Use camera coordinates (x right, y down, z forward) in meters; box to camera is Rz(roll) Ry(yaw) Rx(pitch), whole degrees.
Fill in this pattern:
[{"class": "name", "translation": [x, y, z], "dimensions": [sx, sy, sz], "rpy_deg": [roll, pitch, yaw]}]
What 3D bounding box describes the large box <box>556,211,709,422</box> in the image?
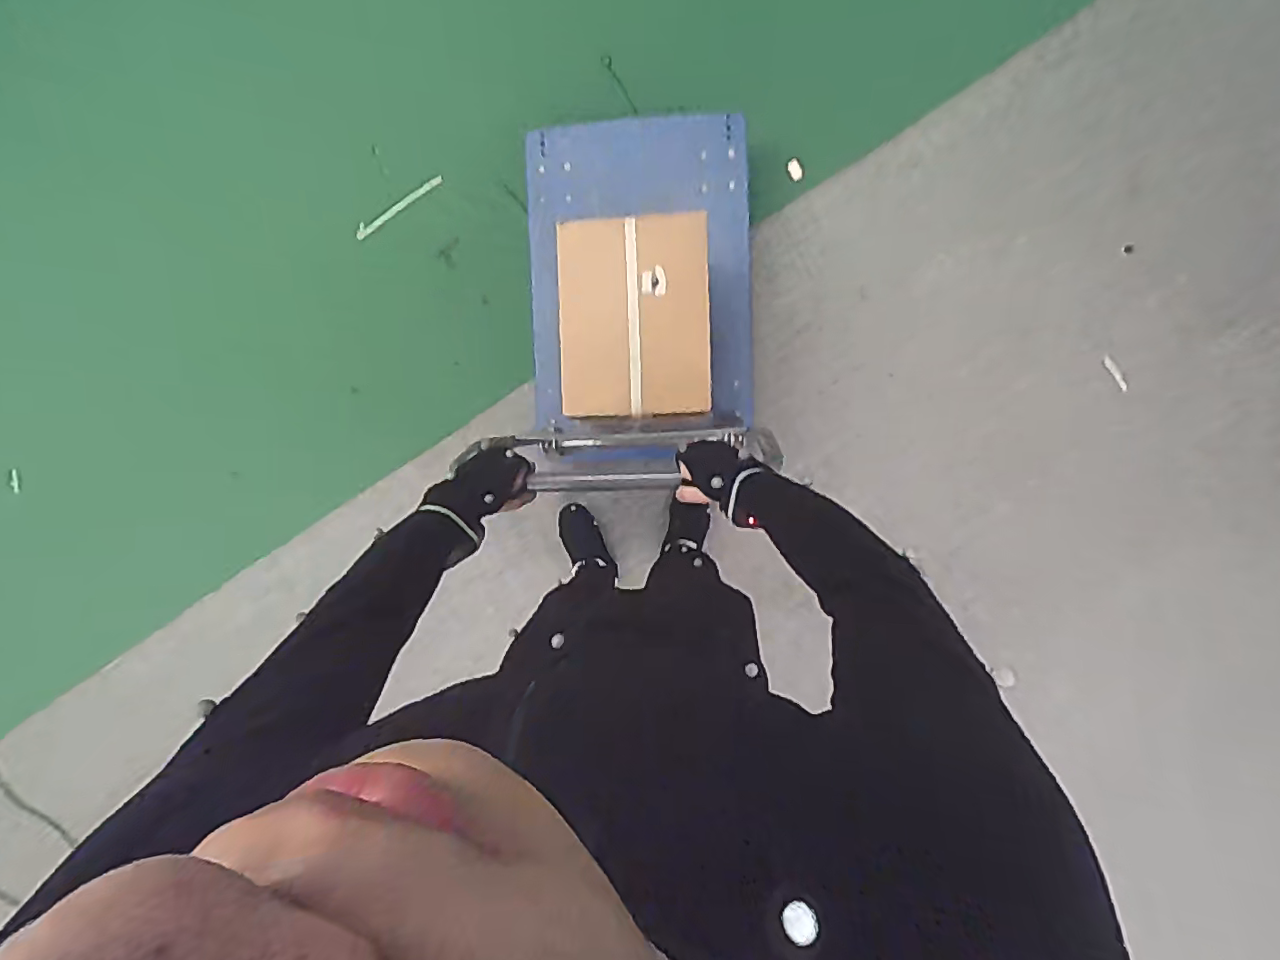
[{"class": "large box", "translation": [-0.003, -0.354, 1.277], "dimensions": [0.320, 0.320, 0.408], "rpy_deg": [-1, 92, 5]}]
